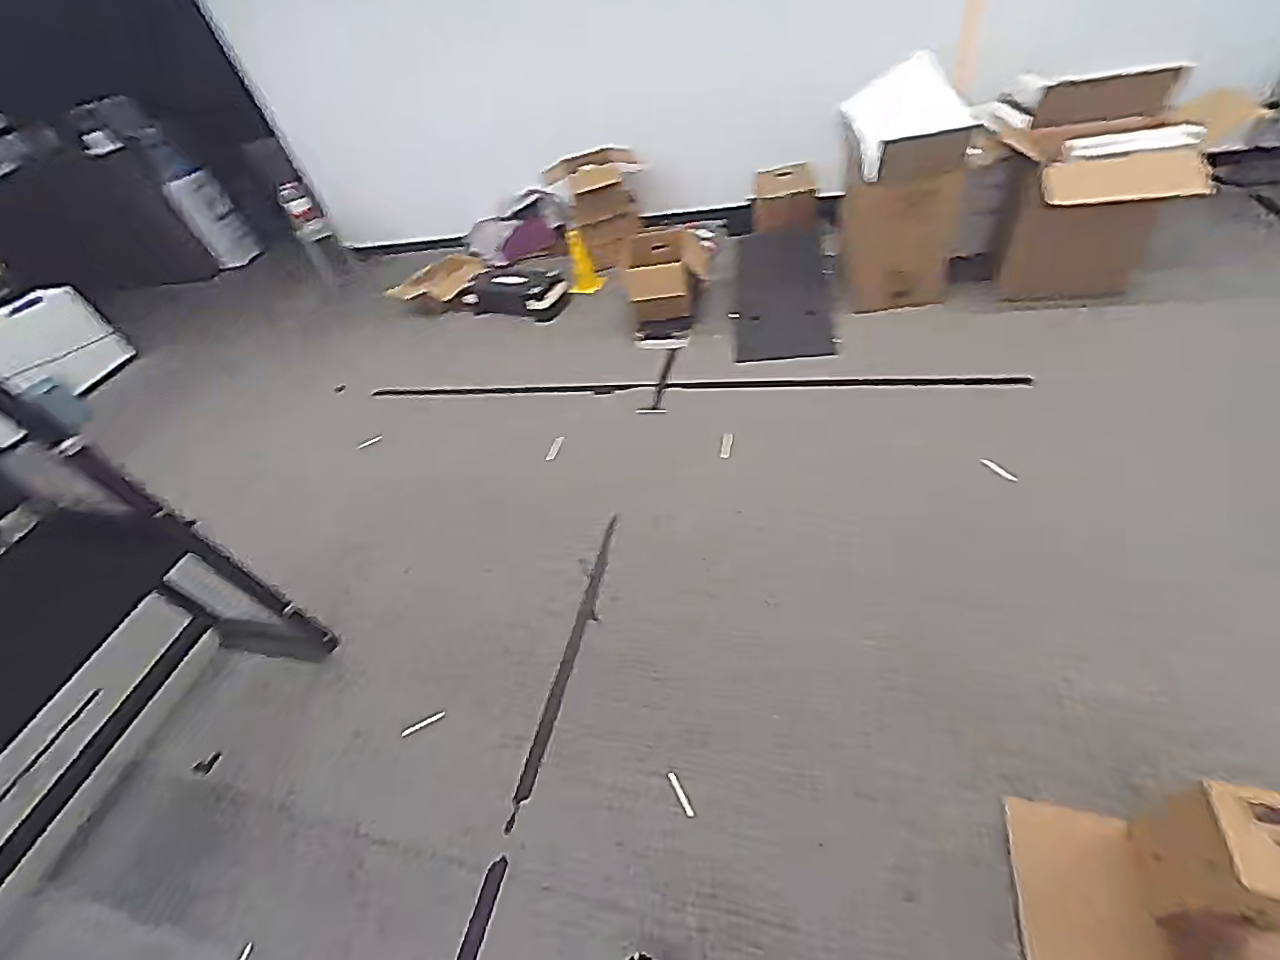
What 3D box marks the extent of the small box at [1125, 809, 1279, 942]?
[{"bbox_3d":[1.152,0.814,1.110,0.168,0.176,0.179,4,48,18],"label":"small box"}]
